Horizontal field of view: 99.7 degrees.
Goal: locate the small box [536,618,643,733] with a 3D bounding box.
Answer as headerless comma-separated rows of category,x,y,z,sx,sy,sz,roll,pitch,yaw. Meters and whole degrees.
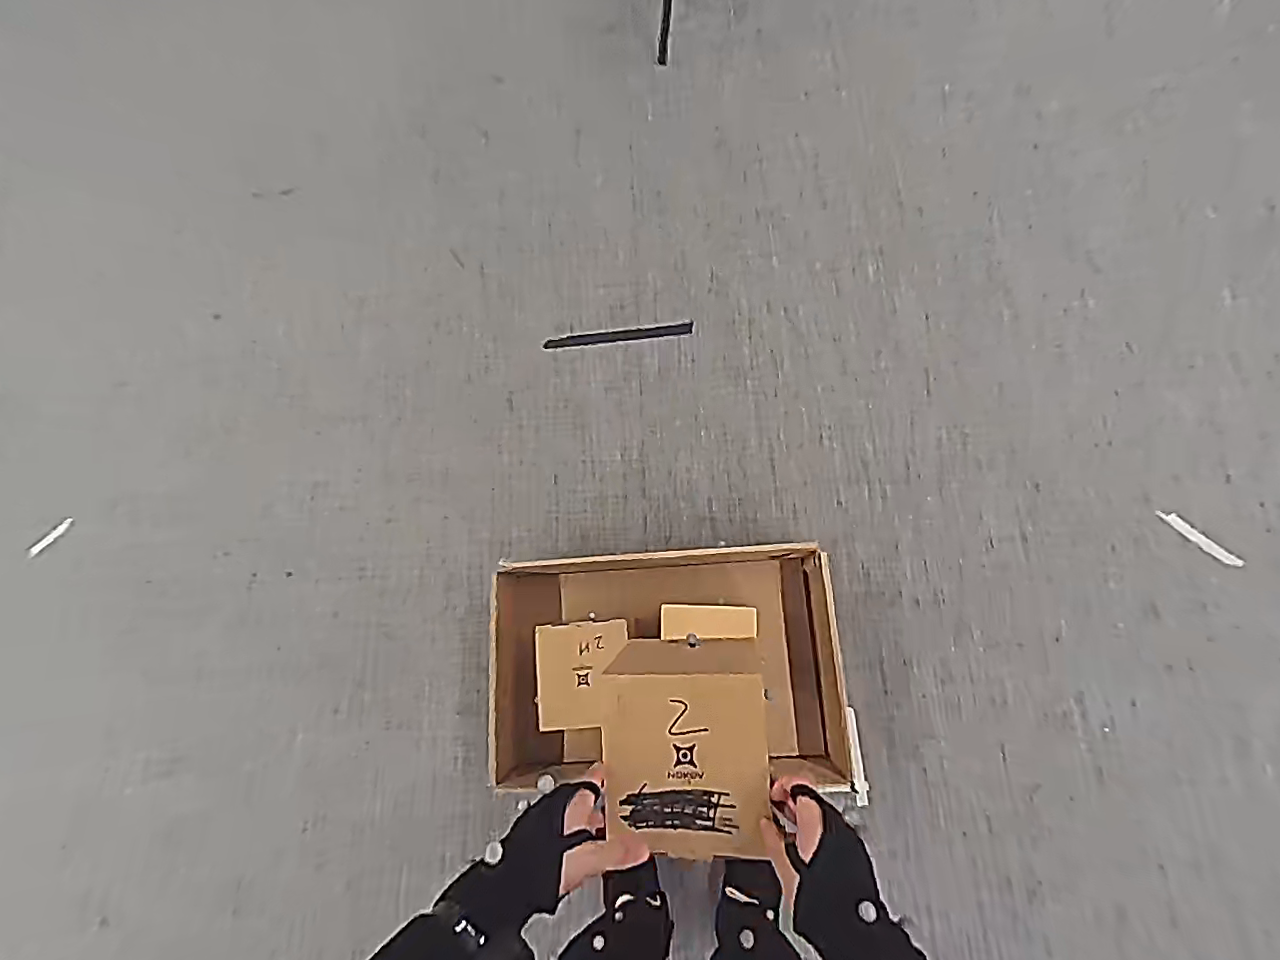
small box,-0.088,0.353,1.003,0.168,0.176,0.179,-6,76,4

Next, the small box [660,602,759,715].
small box,0.127,0.317,0.987,0.168,0.176,0.179,0,77,8
